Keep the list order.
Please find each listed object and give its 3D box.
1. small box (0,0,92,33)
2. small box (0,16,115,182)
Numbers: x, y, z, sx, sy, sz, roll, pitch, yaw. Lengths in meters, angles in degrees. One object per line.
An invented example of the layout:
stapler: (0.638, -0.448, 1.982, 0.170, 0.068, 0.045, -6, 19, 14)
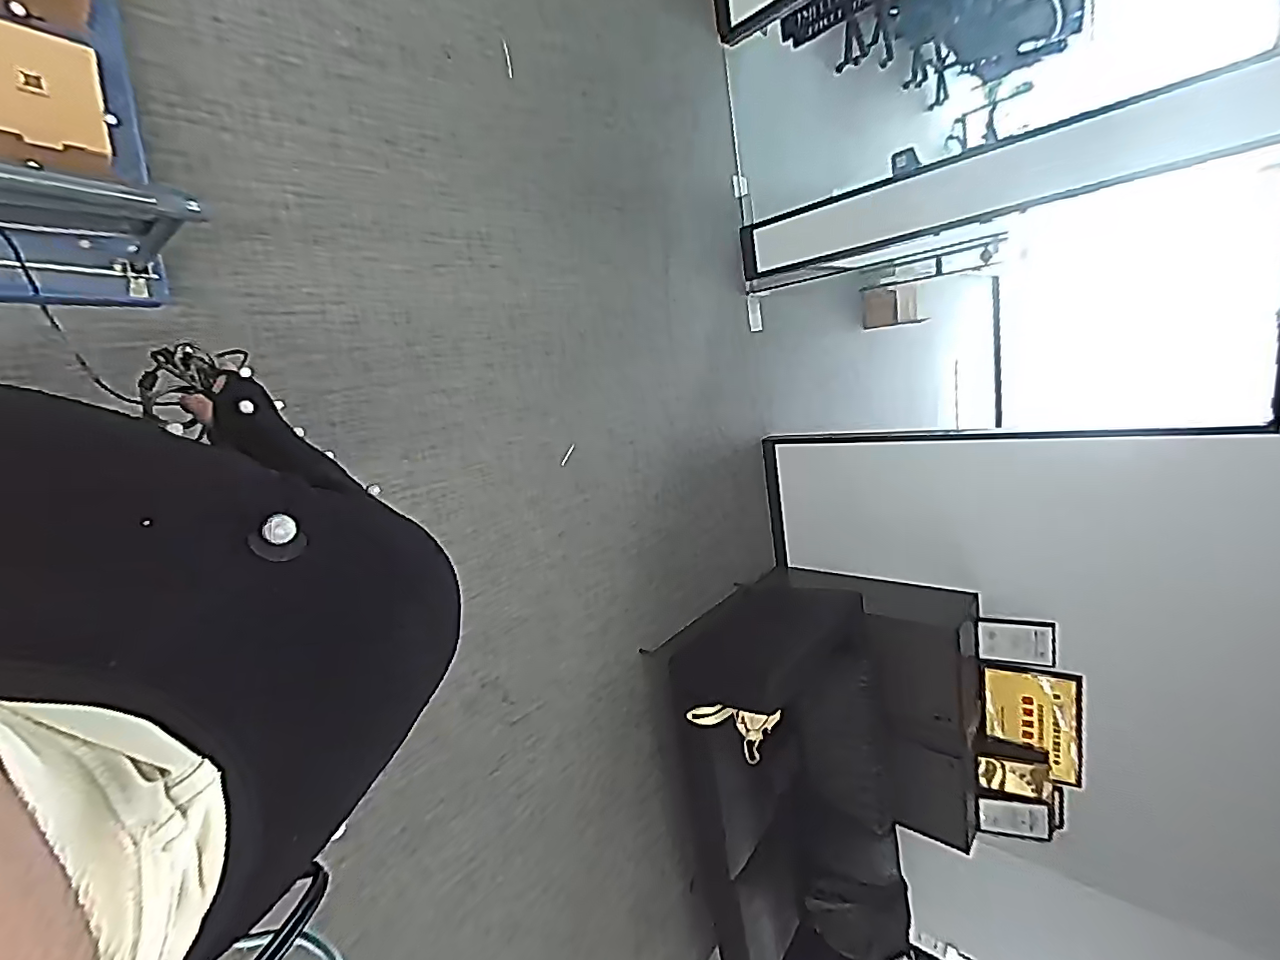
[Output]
small box: (-1.051, -0.910, 0.901, 0.168, 0.176, 0.179, -15, 104, -45)
small box: (-1.040, -0.650, 0.933, 0.168, 0.176, 0.179, -11, 102, -46)
